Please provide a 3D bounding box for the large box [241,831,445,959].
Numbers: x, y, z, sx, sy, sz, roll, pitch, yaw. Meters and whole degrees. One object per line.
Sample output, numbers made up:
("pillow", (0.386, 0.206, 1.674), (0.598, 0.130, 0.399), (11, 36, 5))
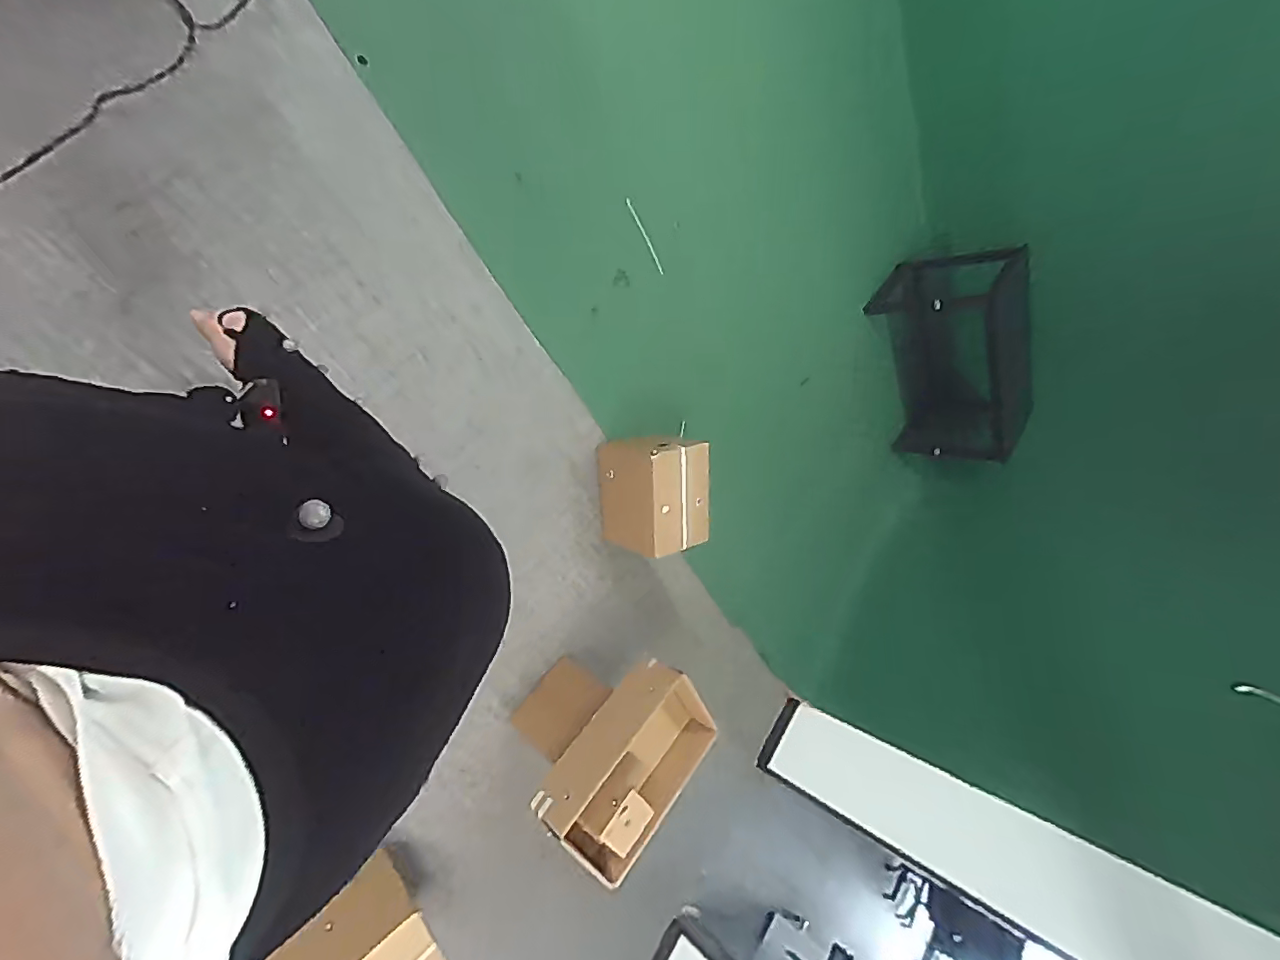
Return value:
("large box", (-0.879, 1.391, 1.619), (0.408, 0.320, 0.320), (-30, 119, -37))
